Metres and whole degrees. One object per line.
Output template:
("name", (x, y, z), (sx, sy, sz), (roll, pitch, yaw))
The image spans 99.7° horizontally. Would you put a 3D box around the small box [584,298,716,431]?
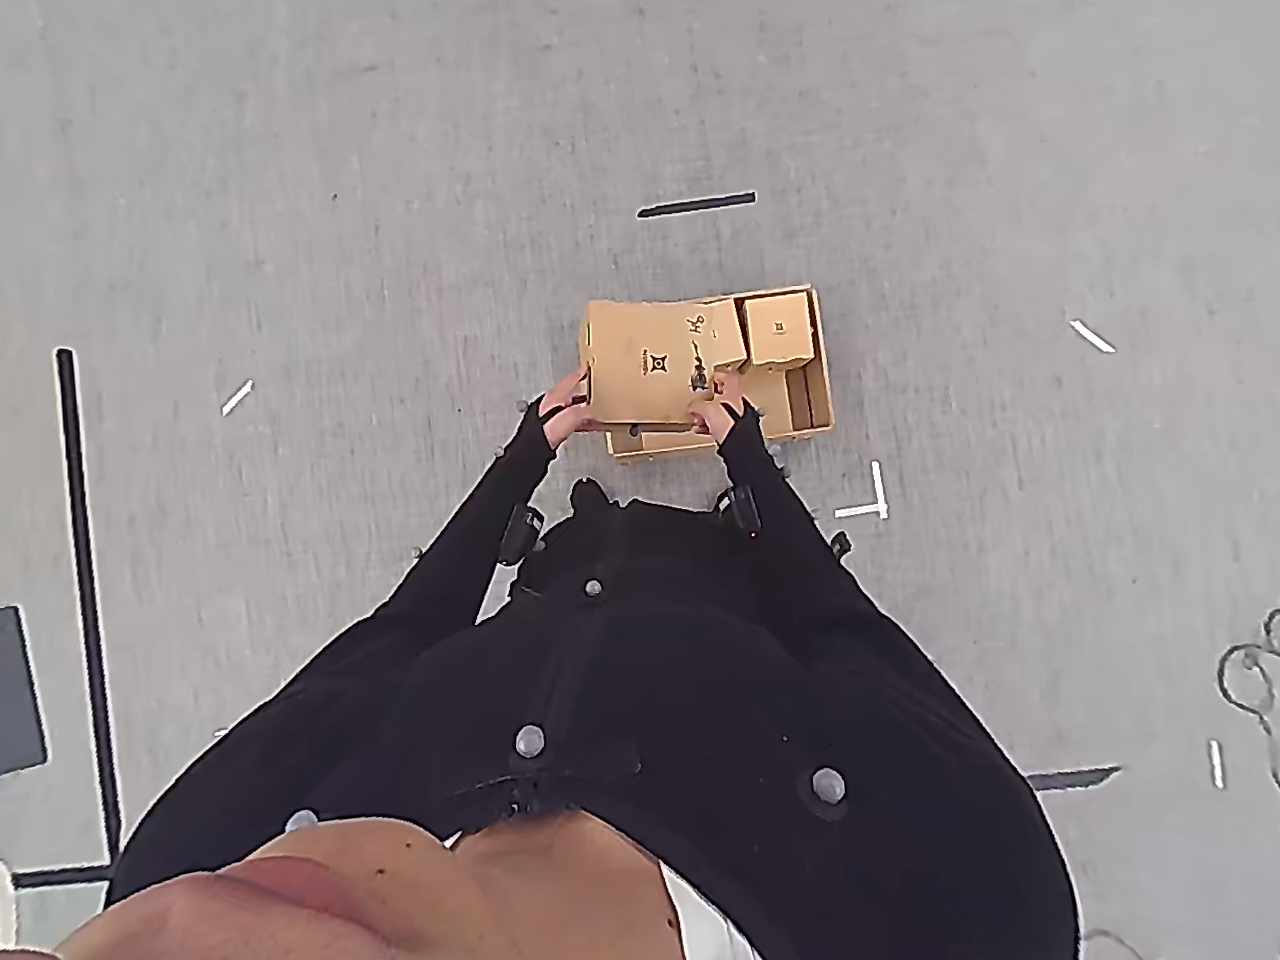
("small box", (0.006, -0.160, 0.800), (0.179, 0.176, 0.168), (-1, 92, -9))
